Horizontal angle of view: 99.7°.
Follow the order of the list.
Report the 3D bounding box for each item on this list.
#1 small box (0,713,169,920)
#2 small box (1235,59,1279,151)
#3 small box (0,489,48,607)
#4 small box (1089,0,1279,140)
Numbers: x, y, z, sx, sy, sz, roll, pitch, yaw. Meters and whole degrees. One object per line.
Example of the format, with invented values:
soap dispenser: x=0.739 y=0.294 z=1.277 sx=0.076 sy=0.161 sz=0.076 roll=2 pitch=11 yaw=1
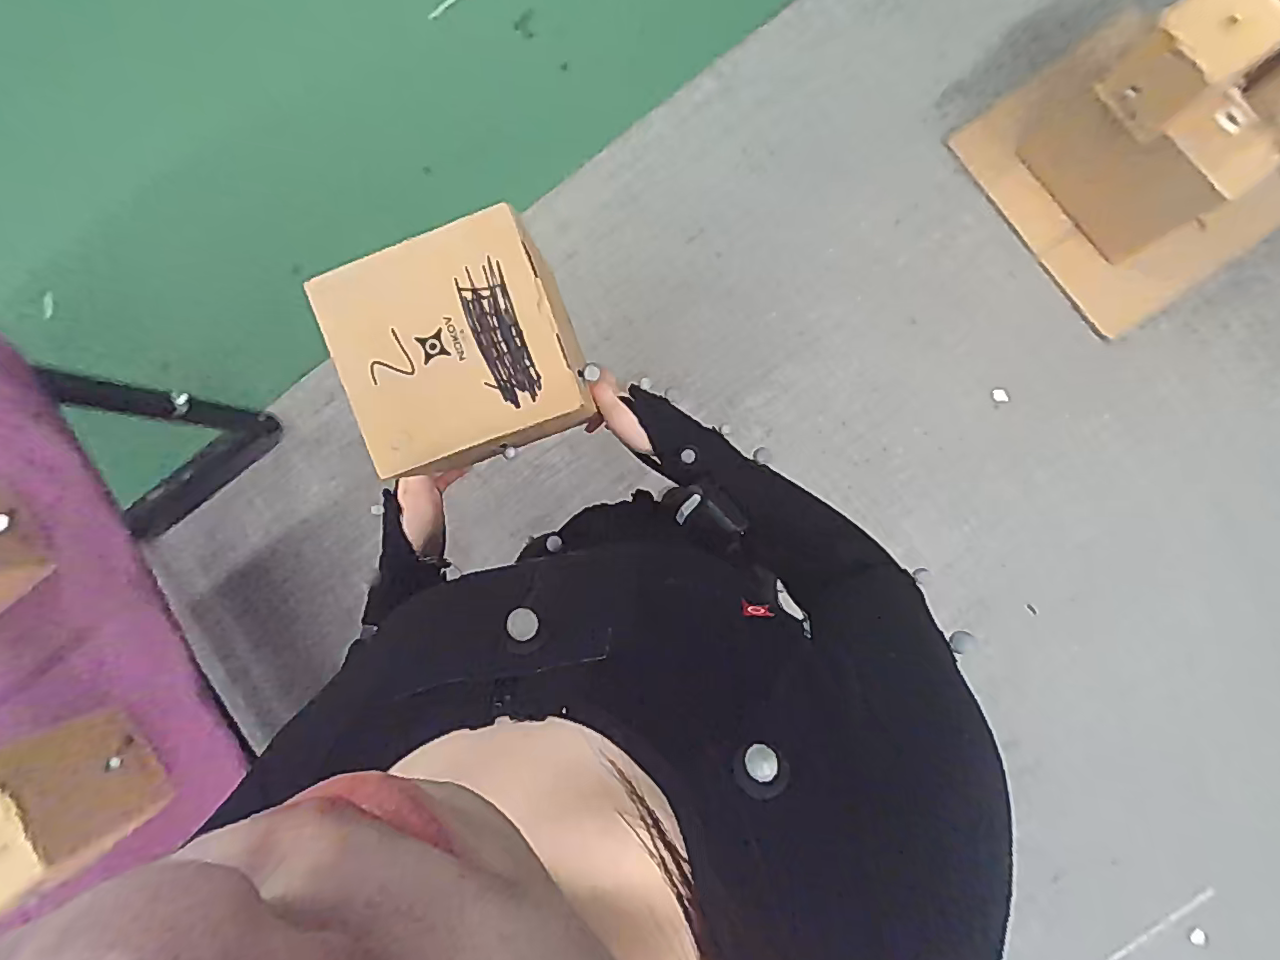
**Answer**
small box: x=-0.802 y=0.453 z=0.720 sx=0.179 sy=0.176 sz=0.168 roll=-38 pitch=86 yaw=3
small box: x=1.340 y=-0.774 z=1.038 sx=0.168 sy=0.176 sz=0.179 roll=-32 pitch=85 yaw=2
small box: x=-1.013 y=0.120 z=0.751 sx=0.179 sy=0.176 sz=0.168 roll=-37 pitch=86 yaw=1
small box: x=1.058 y=-0.829 z=1.064 sx=0.179 sy=0.176 sz=0.168 roll=-35 pitch=86 yaw=4
